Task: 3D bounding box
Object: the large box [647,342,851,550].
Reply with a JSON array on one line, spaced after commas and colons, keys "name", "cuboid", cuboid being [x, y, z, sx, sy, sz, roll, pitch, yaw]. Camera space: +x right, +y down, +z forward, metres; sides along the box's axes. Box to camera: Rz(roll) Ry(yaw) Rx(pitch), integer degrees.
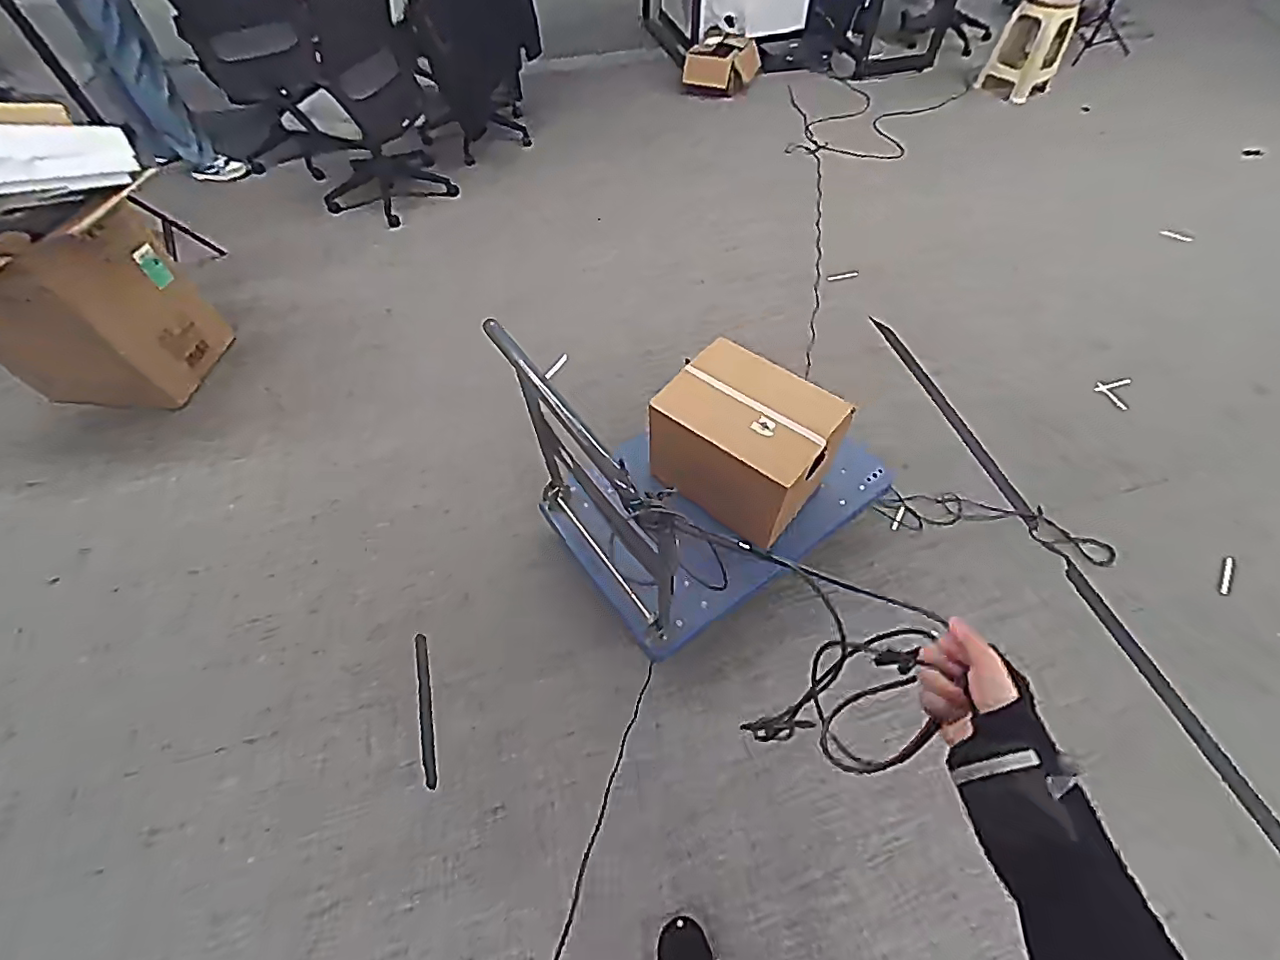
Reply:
[{"name": "large box", "cuboid": [0.265, -0.091, 1.437, 0.408, 0.320, 0.320, 34, 64, 21]}]
